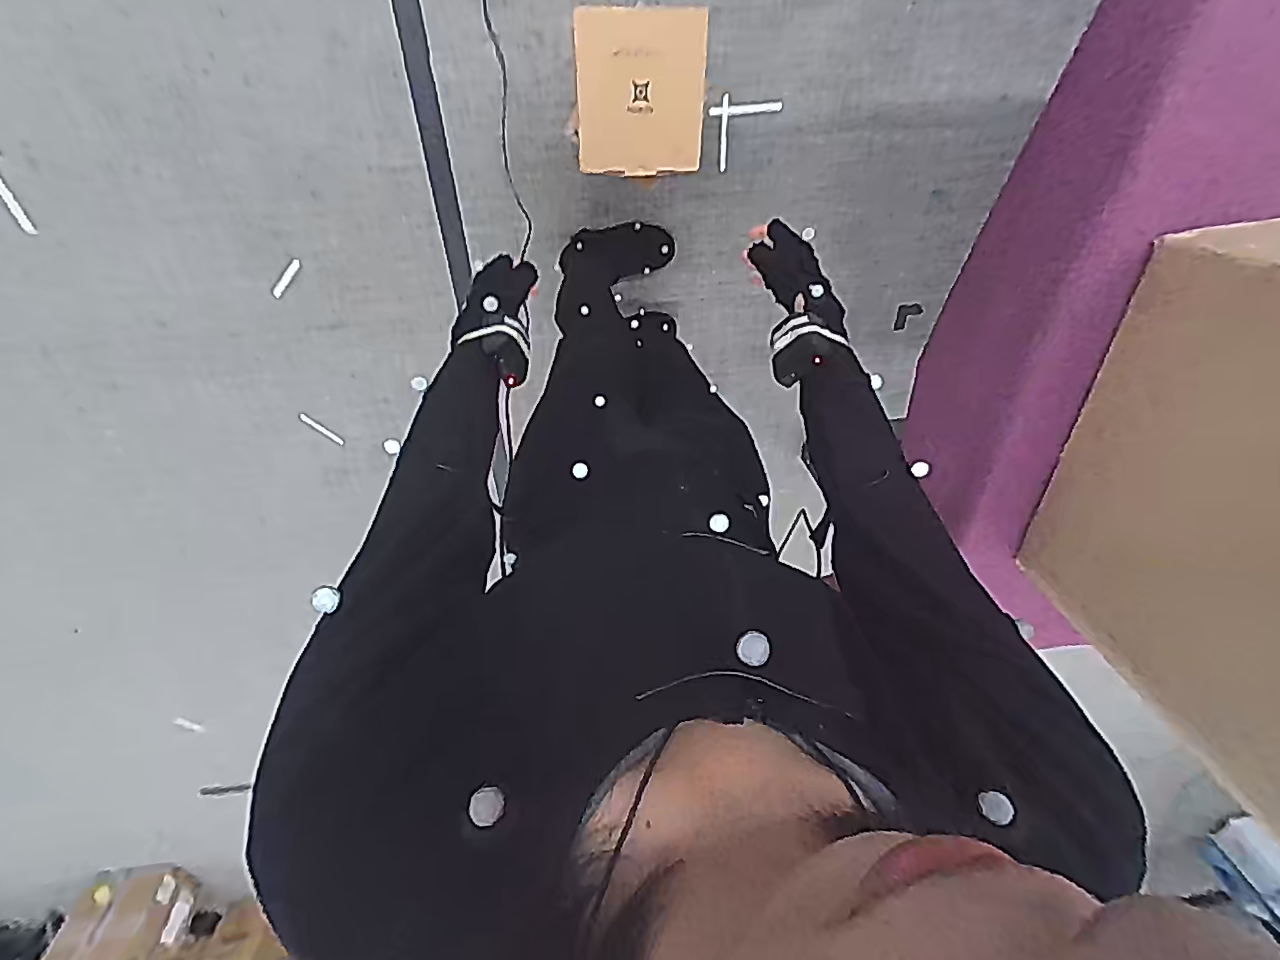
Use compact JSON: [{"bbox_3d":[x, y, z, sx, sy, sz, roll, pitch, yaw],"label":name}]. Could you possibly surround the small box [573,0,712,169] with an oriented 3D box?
[{"bbox_3d":[-0.004,-0.539,0.745,0.168,0.176,0.179,-4,126,-5],"label":"small box"}]
